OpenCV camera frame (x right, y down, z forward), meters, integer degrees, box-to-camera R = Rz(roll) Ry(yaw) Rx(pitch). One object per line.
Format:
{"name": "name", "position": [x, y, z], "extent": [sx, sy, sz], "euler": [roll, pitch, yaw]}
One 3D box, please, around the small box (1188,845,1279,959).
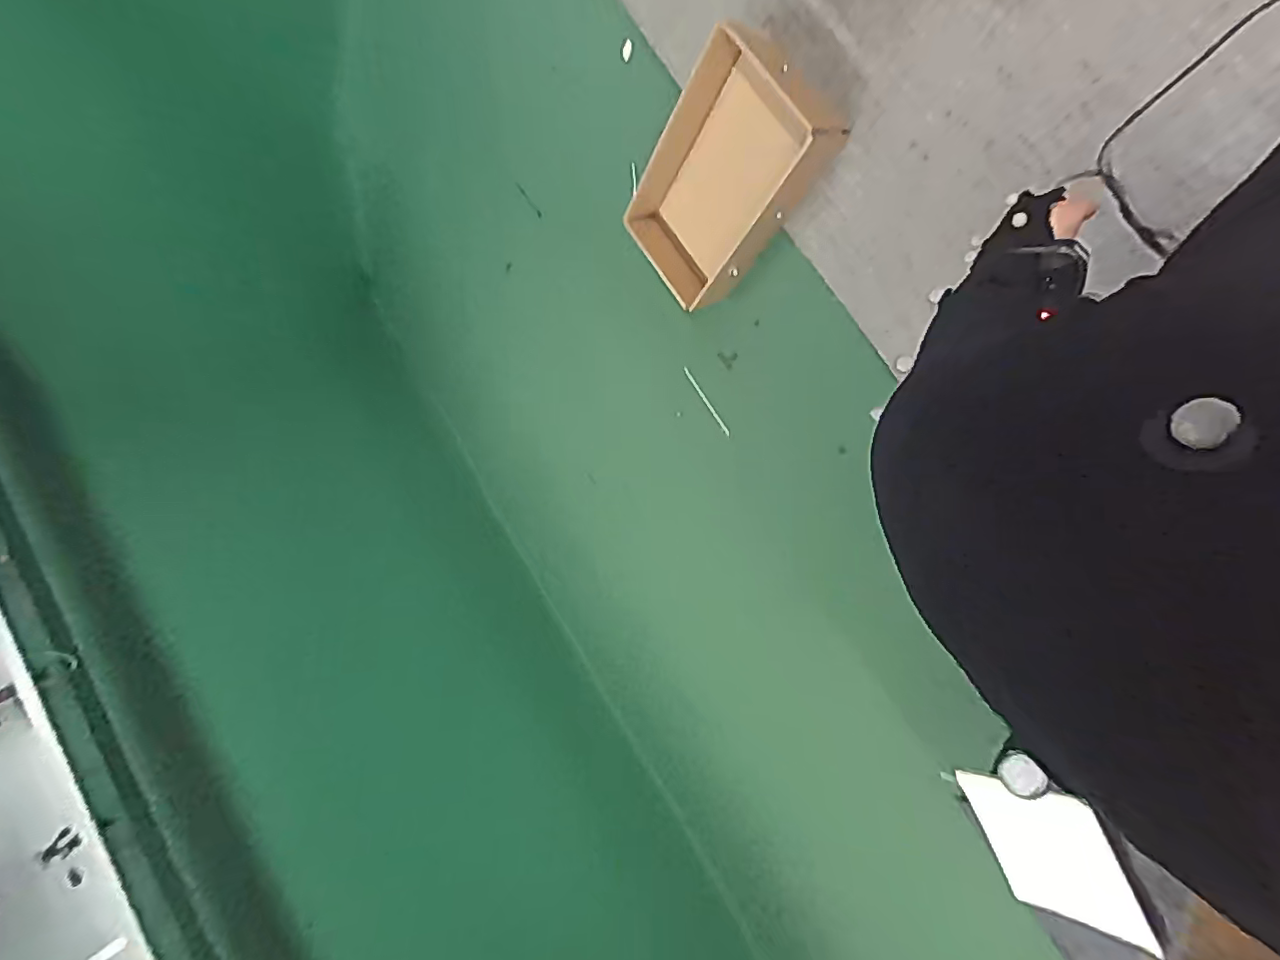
{"name": "small box", "position": [0.765, 0.571, 0.608], "extent": [0.168, 0.176, 0.179], "euler": [-16, 99, 54]}
